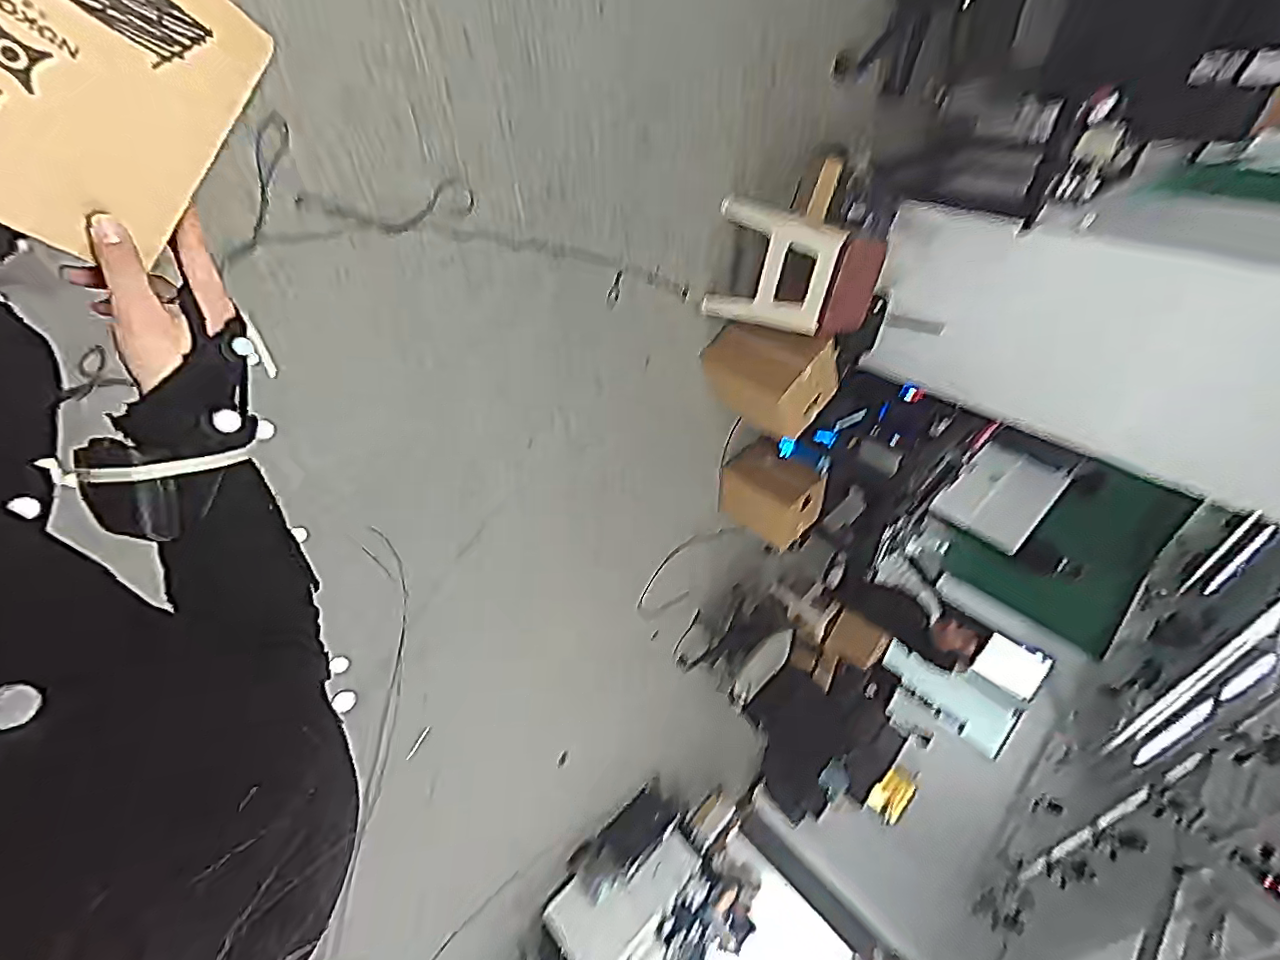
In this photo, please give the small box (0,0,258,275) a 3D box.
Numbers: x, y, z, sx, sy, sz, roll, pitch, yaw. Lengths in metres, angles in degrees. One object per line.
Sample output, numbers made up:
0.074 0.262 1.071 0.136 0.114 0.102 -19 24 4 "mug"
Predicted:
-0.365 -0.251 0.294 0.179 0.176 0.168 -60 151 1 "small box"
